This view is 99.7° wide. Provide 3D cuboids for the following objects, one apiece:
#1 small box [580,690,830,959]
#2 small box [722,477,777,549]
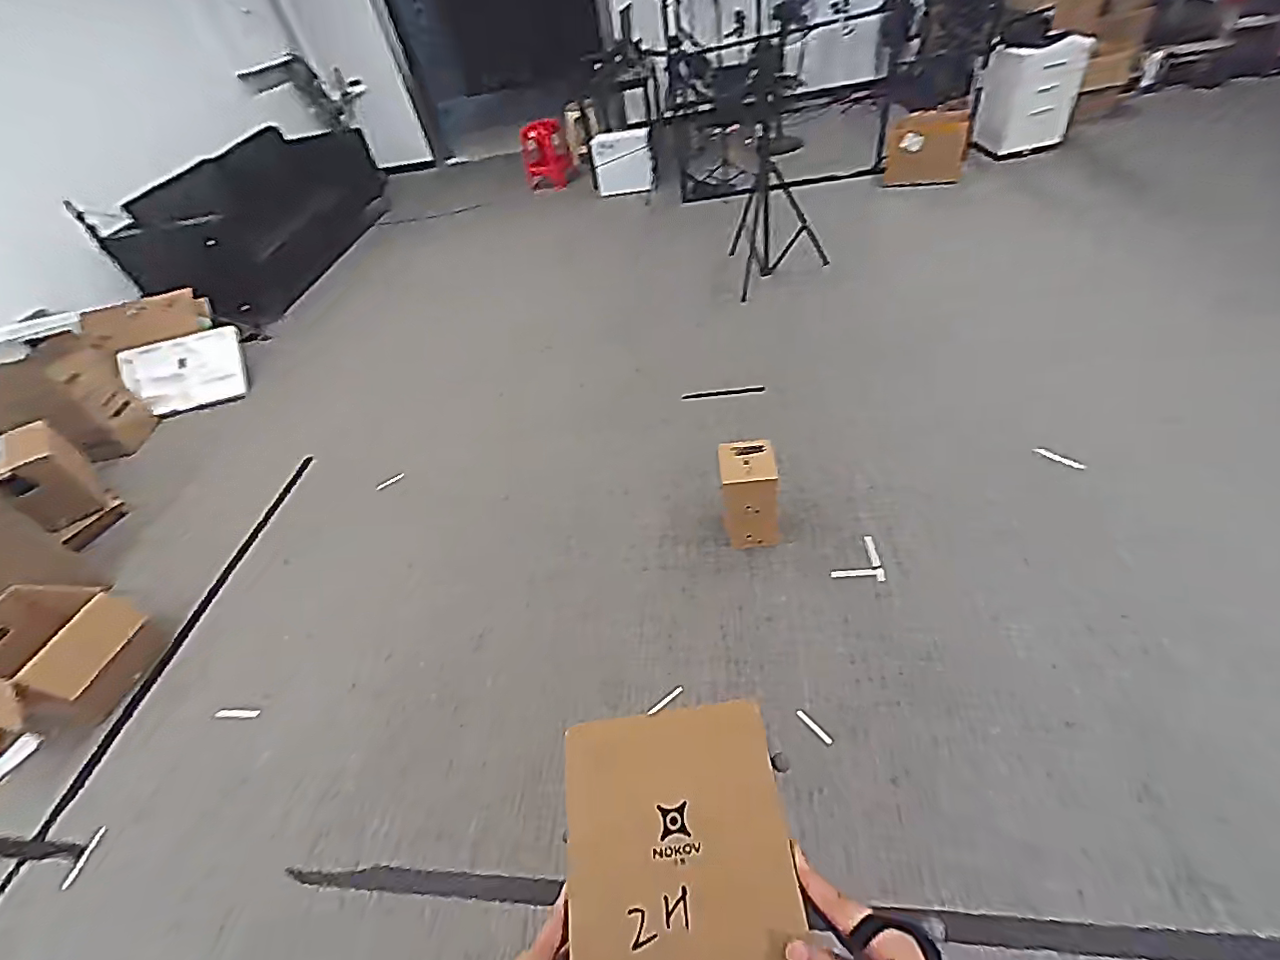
[{"bbox_3d":[0.048,0.301,0.464,0.168,0.176,0.179,-10,53,5],"label":"small box"},{"bbox_3d":[0.369,0.112,1.836,0.168,0.176,0.179,-5,45,8],"label":"small box"}]
